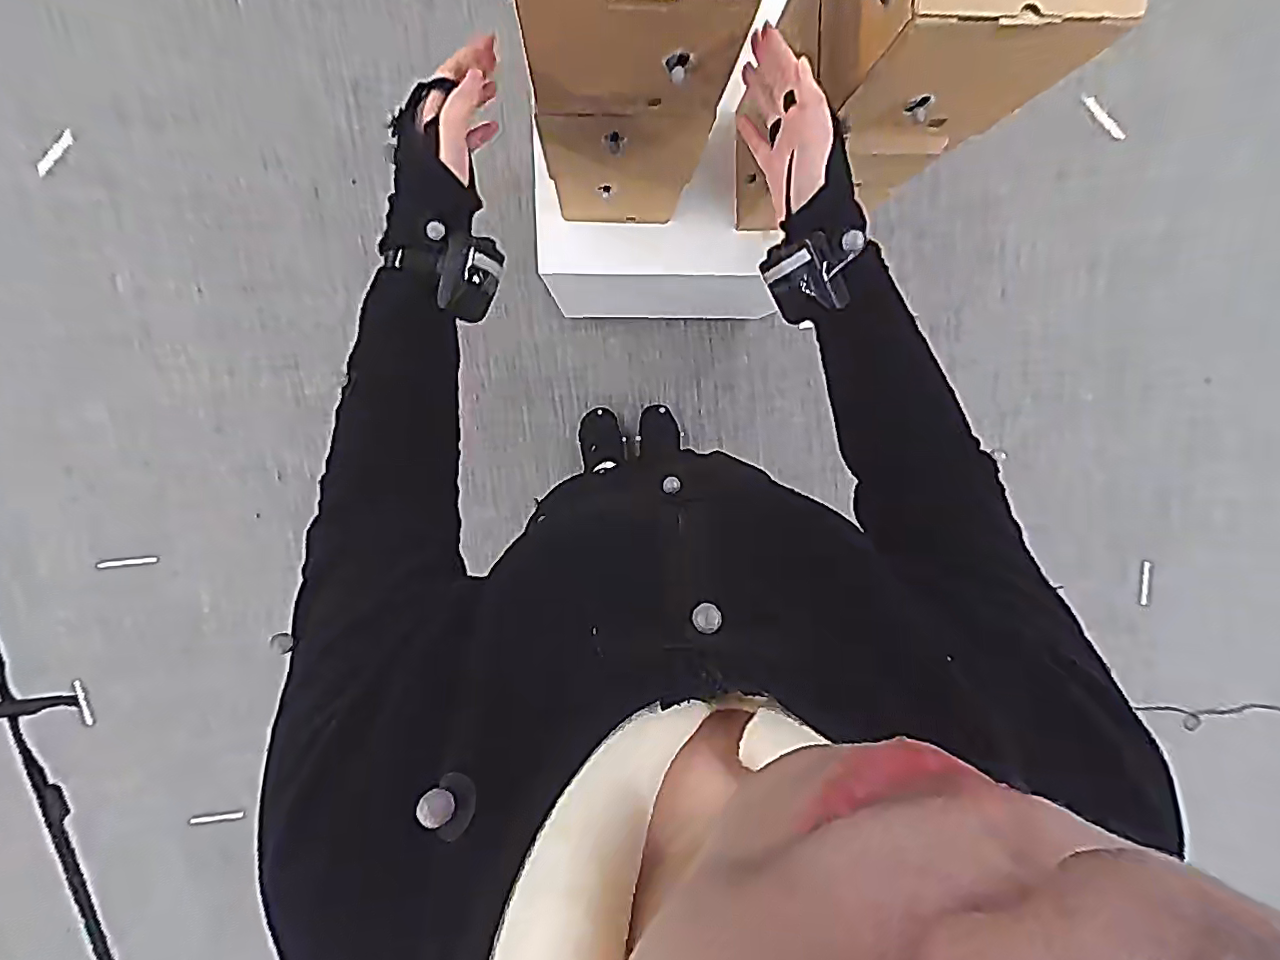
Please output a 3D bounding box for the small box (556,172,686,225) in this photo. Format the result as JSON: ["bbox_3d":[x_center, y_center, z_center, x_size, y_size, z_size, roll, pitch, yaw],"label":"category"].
[{"bbox_3d":[-0.029,-0.466,0.732,0.168,0.176,0.179,0,99,-4],"label":"small box"}]

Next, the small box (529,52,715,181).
[{"bbox_3d":[-0.019,-0.434,0.570,0.179,0.176,0.168,0,101,-4],"label":"small box"}]

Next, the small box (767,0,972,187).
[{"bbox_3d":[0.242,-0.437,0.587,0.168,0.176,0.179,-2,100,-3],"label":"small box"}]

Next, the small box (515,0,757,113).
[{"bbox_3d":[-0.005,-0.411,0.409,0.168,0.176,0.179,-1,100,-5],"label":"small box"}]

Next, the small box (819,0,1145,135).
[{"bbox_3d":[0.253,-0.407,0.428,0.168,0.176,0.179,-2,101,-3],"label":"small box"}]
